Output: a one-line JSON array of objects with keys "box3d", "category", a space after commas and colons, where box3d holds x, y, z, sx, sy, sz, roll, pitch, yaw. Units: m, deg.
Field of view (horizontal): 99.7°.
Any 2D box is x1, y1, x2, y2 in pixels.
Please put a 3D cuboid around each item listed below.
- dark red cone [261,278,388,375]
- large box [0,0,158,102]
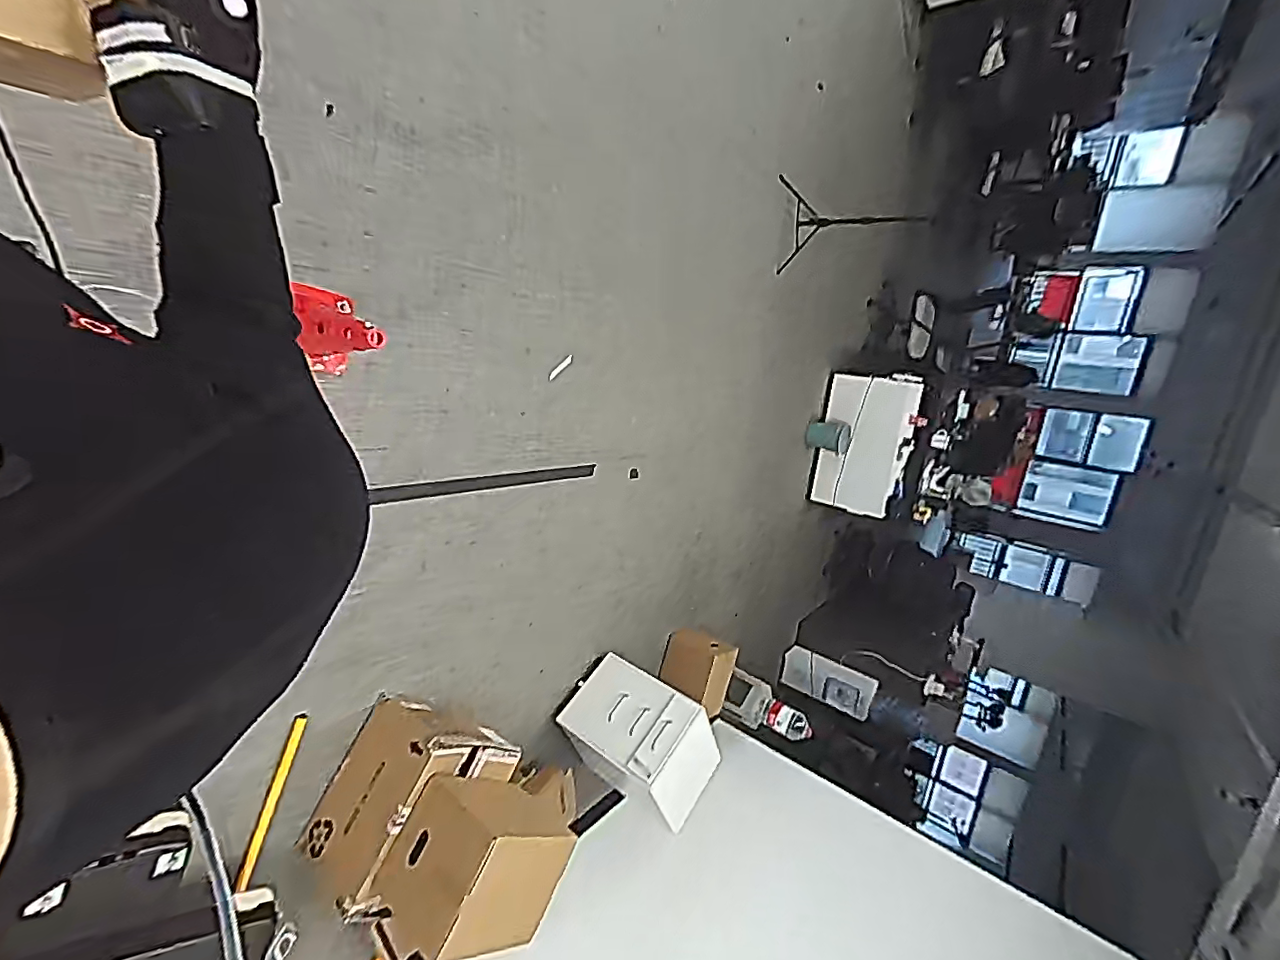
[{"box3d": [-0.675, -0.327, 1.214, 0.201, 0.394, 0.202, 1, 102, -52], "category": "dark red cone"}, {"box3d": [-0.549, -0.434, 0.258, 0.408, 0.320, 0.320, -14, 121, -50], "category": "large box"}]
